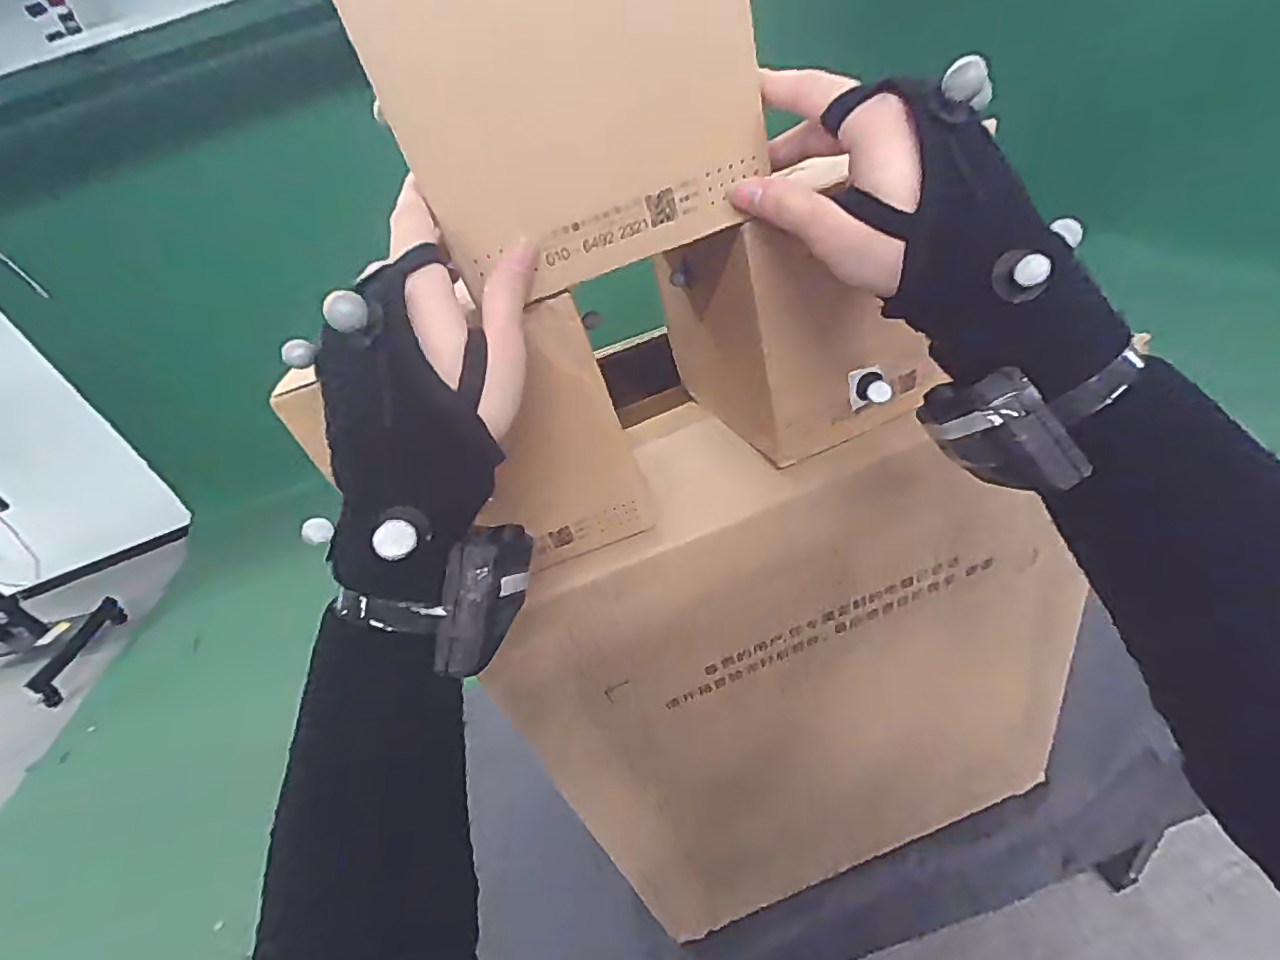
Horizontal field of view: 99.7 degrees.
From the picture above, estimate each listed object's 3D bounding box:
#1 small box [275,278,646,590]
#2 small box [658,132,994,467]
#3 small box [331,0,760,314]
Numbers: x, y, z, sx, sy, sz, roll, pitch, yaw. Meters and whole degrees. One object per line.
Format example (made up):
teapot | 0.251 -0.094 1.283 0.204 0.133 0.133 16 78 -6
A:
small box | -0.106 -0.044 0.392 0.168 0.176 0.179 -21 33 0
small box | 0.122 -0.137 0.408 0.168 0.176 0.179 -25 35 -7
small box | -0.051 -0.210 0.305 0.168 0.176 0.179 -23 33 -4
